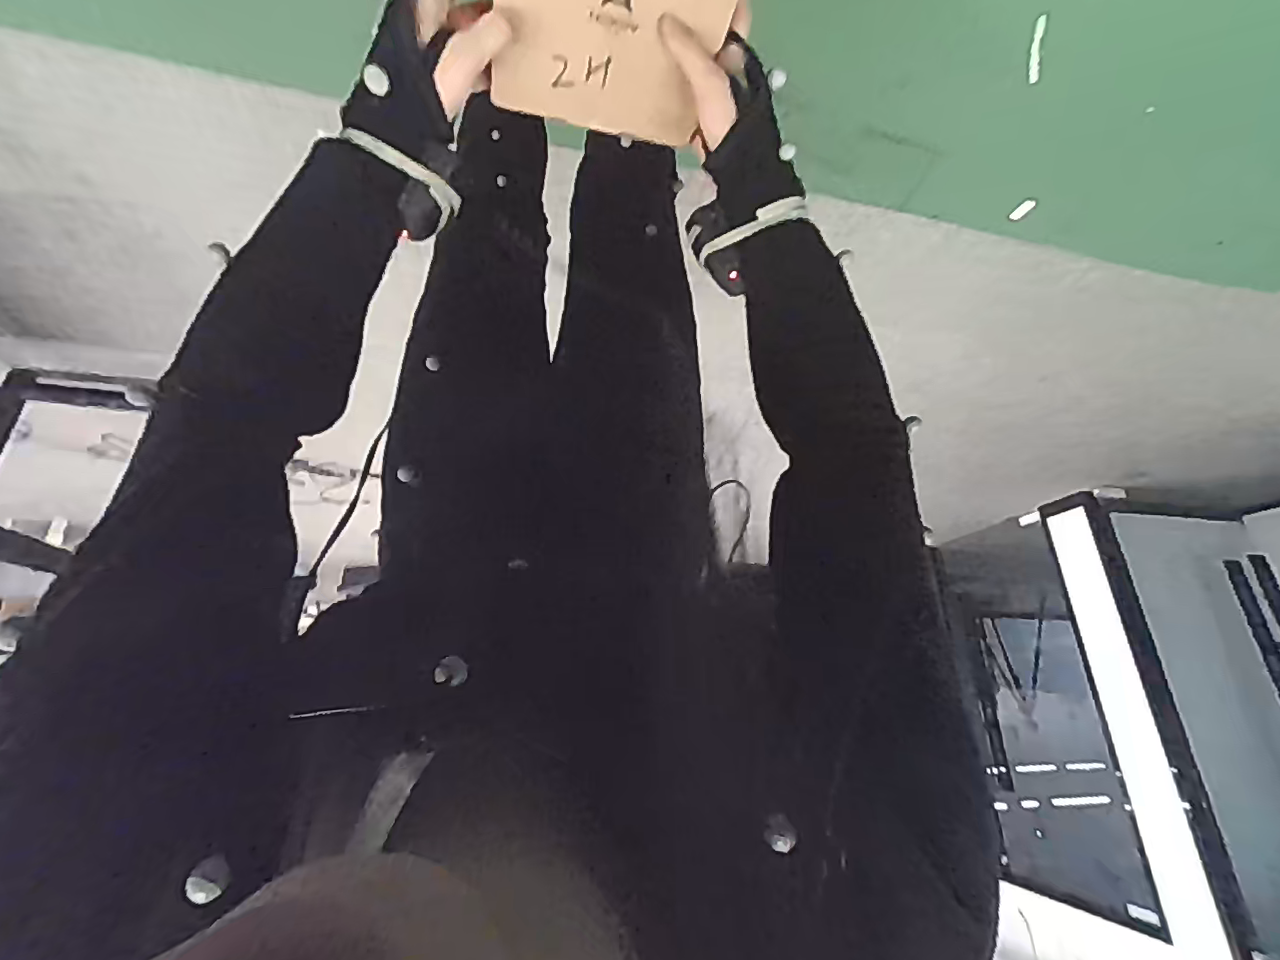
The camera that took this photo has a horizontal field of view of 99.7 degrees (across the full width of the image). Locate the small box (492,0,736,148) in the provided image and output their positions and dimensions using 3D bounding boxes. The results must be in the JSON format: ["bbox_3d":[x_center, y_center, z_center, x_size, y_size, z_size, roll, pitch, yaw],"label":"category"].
[{"bbox_3d":[-0.022,-0.404,0.412,0.168,0.176,0.179,4,154,-15],"label":"small box"}]
